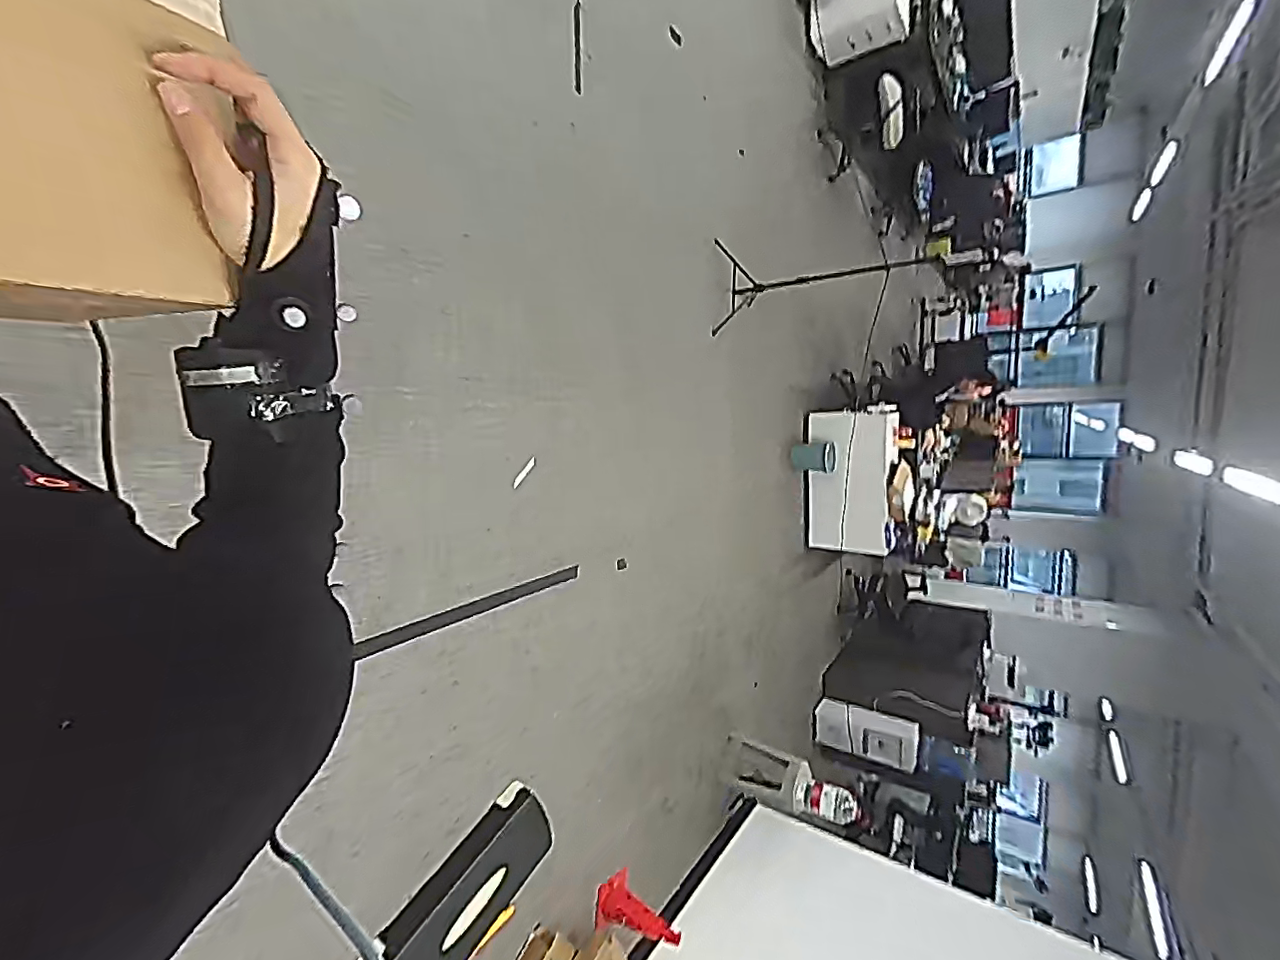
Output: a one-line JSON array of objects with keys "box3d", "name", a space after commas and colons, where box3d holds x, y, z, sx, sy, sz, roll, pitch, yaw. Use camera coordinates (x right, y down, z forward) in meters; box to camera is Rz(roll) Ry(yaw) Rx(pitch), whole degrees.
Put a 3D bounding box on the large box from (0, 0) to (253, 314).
[{"box3d": [-0.471, -0.250, 0.219, 0.408, 0.320, 0.320, -16, 112, -59], "name": "large box"}]
